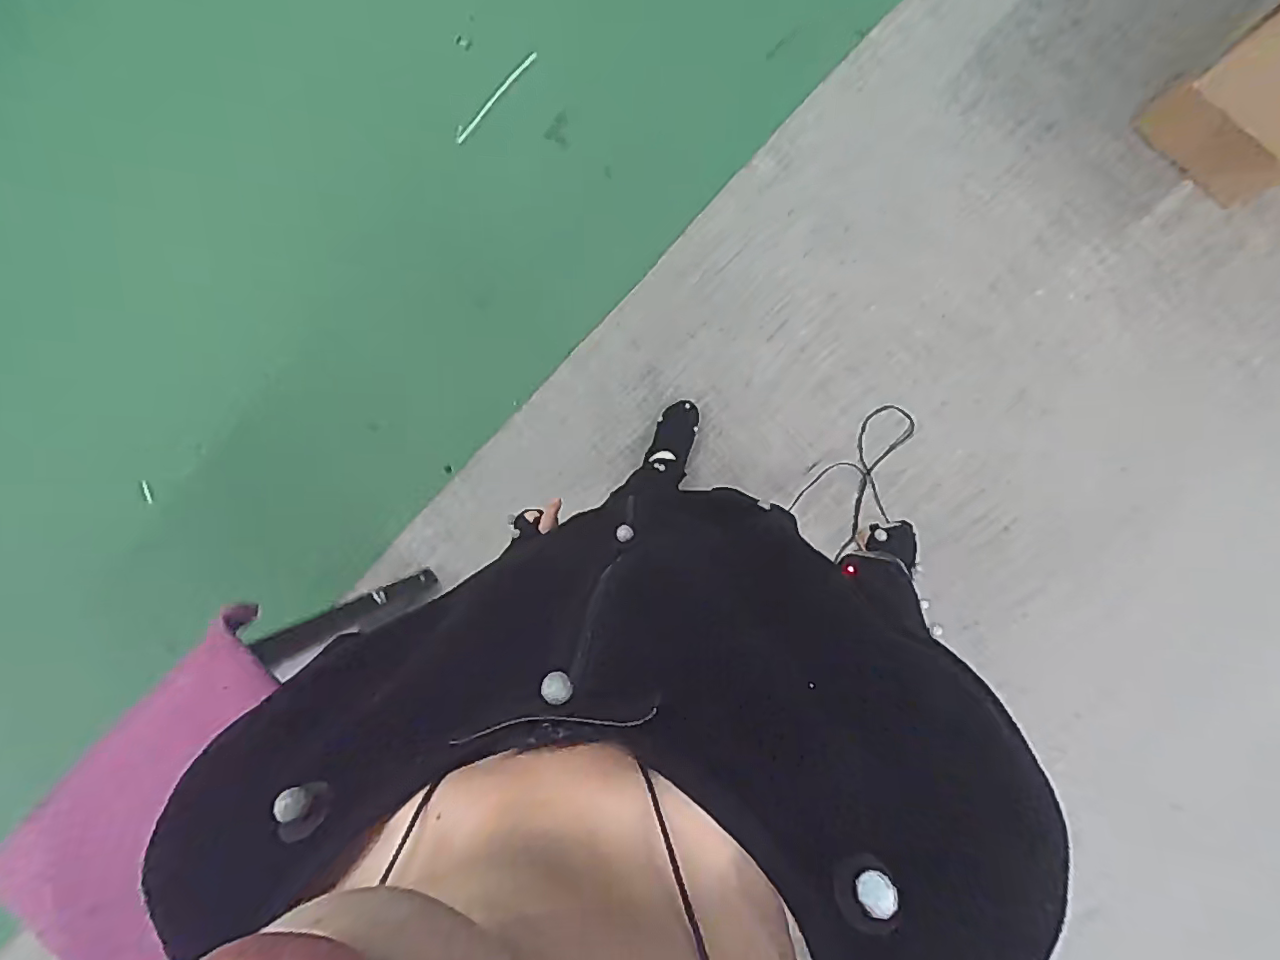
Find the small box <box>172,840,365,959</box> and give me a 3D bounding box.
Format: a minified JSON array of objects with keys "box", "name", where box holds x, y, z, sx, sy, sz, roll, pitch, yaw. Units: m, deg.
[{"box":[-0.554,0.693,0.797,0.179,0.176,0.168,-43,88,8],"name":"small box"}]
